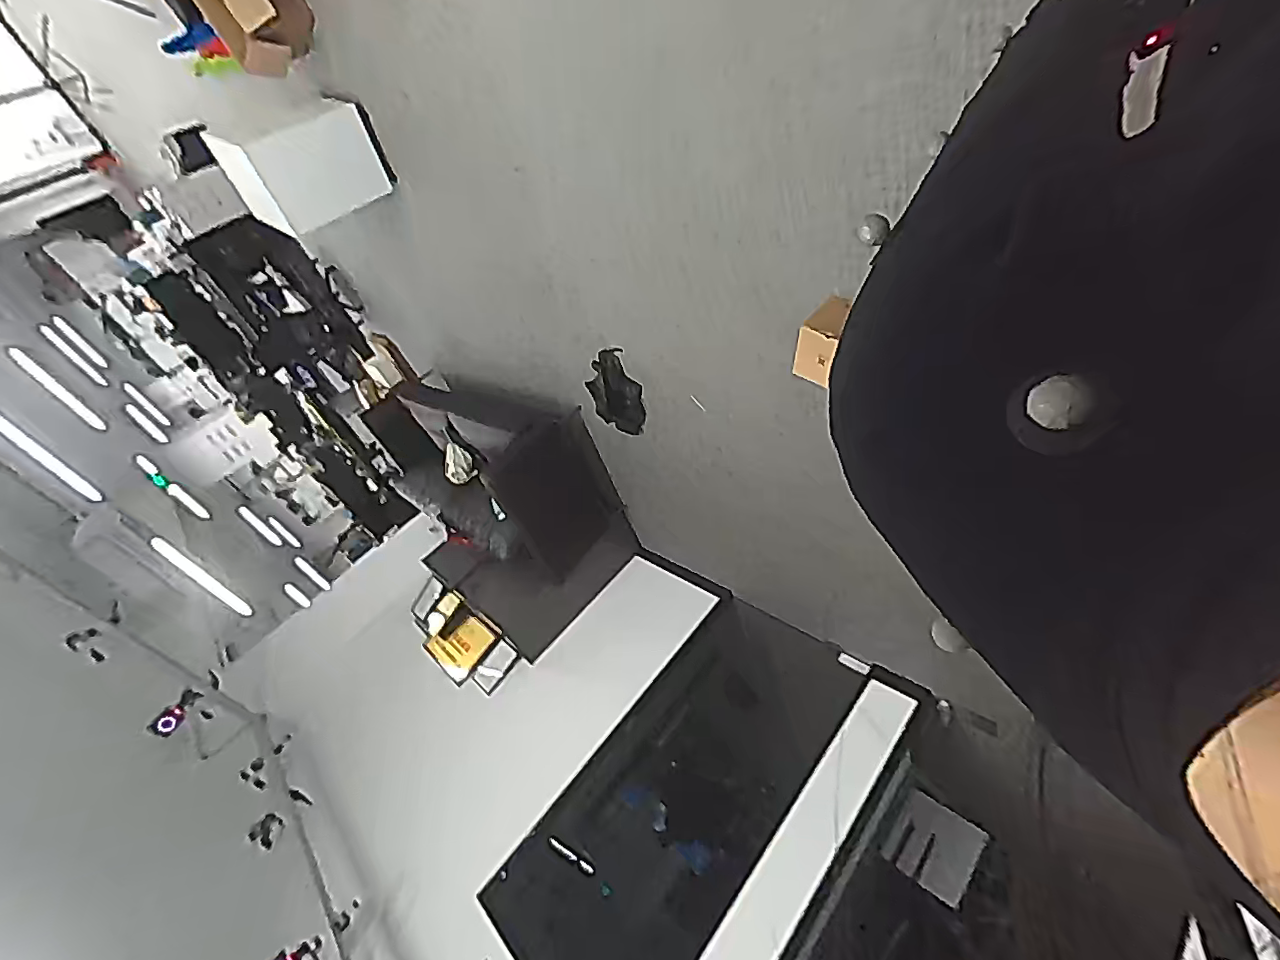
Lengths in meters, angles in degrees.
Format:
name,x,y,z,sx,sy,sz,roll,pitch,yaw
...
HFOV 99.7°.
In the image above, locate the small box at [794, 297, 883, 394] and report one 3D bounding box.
name,x,y,z,sx,sy,sz,roll,pitch,yaw
small box,0.566,-0.385,1.542,0.168,0.176,0.179,34,152,27
